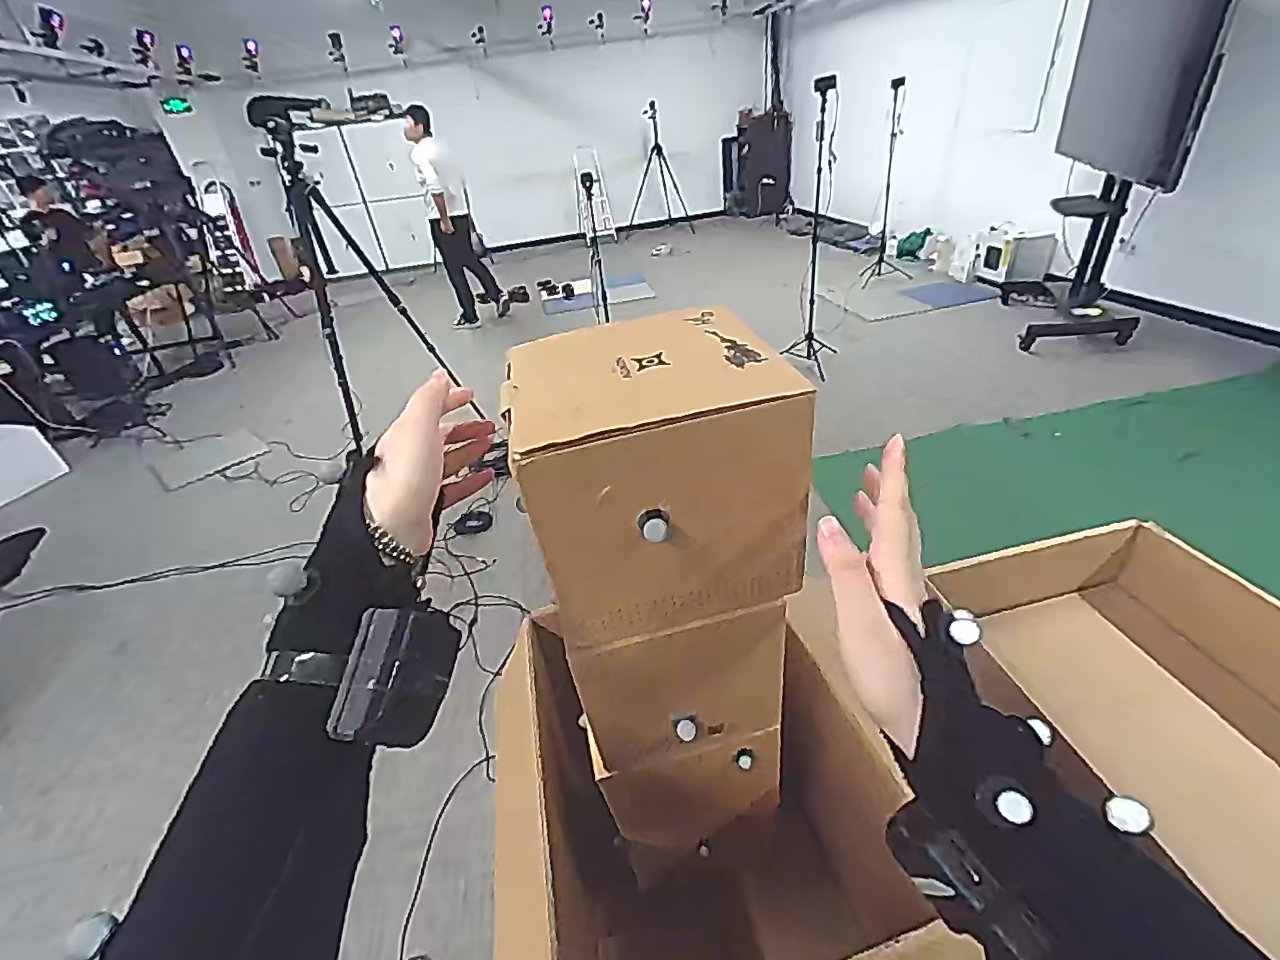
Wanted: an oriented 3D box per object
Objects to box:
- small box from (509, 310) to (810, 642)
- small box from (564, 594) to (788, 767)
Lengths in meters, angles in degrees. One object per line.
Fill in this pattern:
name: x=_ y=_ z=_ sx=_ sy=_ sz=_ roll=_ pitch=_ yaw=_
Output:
small box: x=0.011 y=-0.005 z=0.407 sx=0.179 sy=0.176 sz=0.168 roll=-14 pitch=37 yaw=-5
small box: x=0.023 y=0.127 z=0.503 sx=0.168 sy=0.176 sz=0.179 roll=-13 pitch=37 yaw=-5
